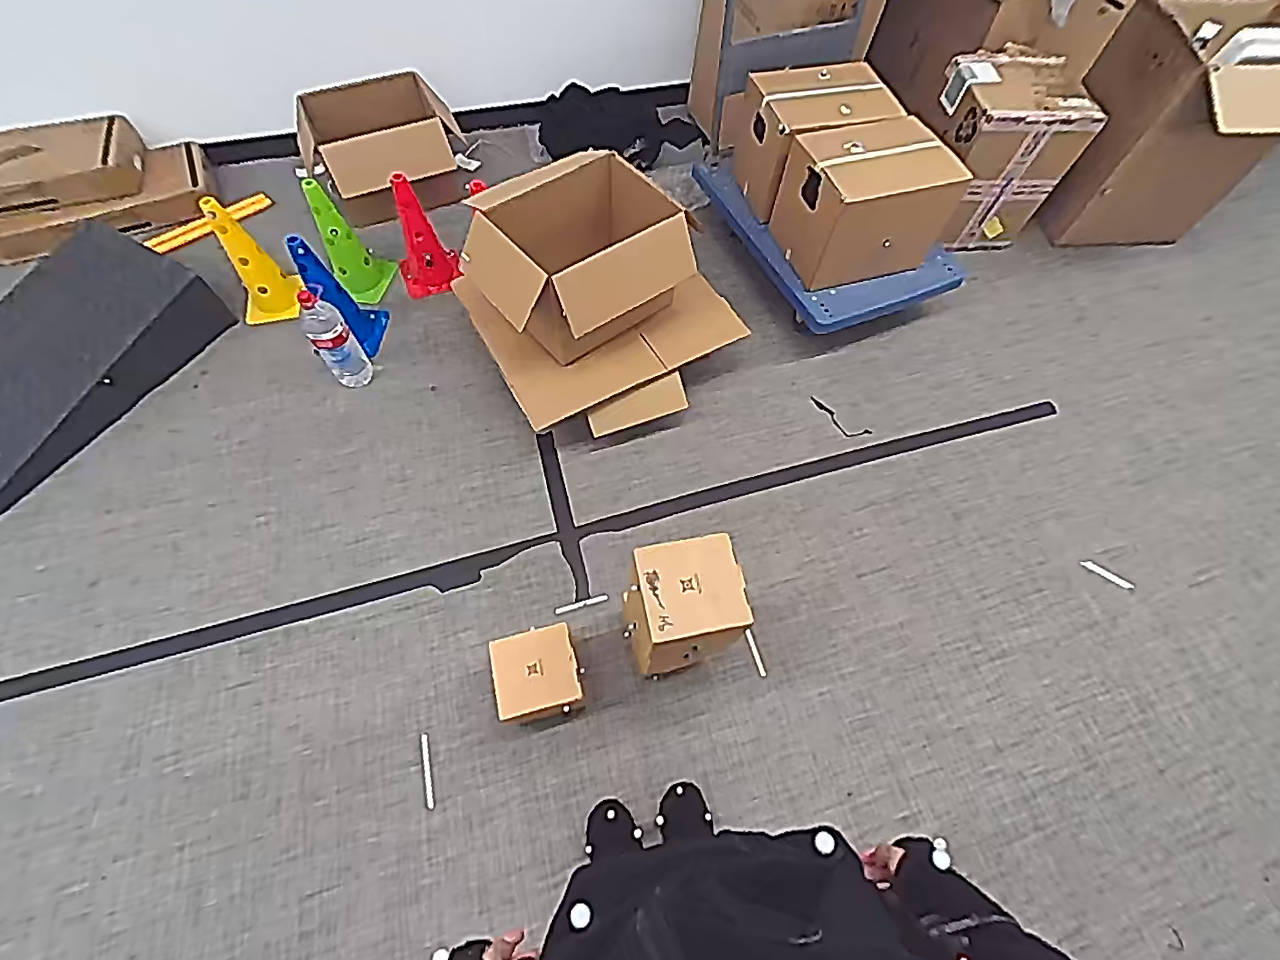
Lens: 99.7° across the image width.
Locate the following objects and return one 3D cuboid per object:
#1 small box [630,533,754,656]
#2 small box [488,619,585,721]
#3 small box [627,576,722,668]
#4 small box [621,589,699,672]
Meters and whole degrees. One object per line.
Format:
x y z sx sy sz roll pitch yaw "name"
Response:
0.083 0.211 0.980 0.179 0.176 0.168 -8 64 -9 "small box"
-0.229 0.432 1.219 0.179 0.176 0.168 -13 64 -10 "small box"
0.074 0.283 1.127 0.179 0.176 0.168 -11 65 -10 "small box"
0.056 0.344 1.279 0.168 0.176 0.179 -14 64 -11 "small box"
